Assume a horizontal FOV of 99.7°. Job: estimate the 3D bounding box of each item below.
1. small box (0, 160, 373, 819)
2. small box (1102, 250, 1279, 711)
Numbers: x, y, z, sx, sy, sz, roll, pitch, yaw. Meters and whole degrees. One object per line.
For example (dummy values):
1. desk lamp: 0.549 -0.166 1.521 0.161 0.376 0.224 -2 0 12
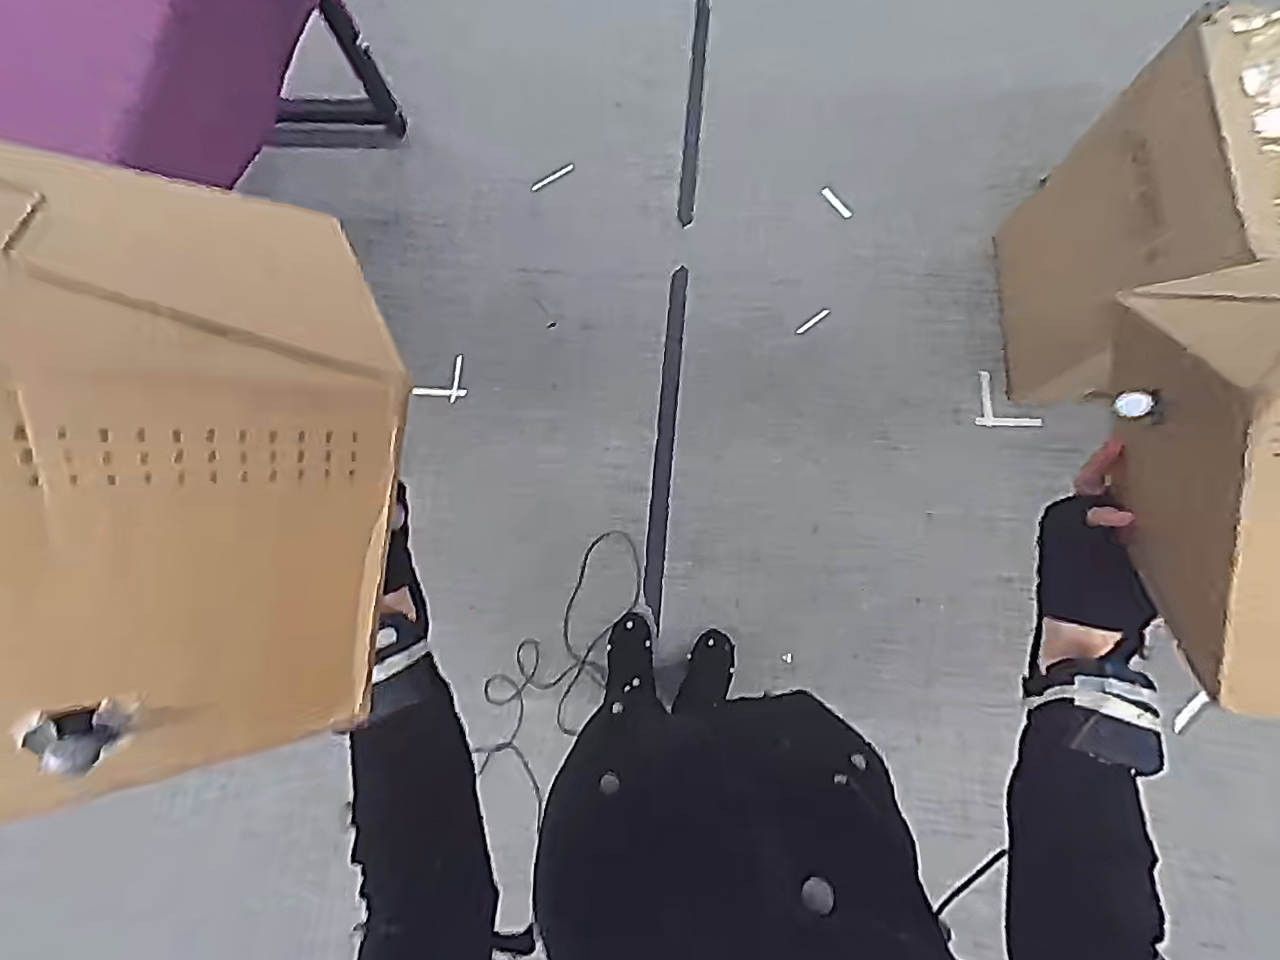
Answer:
1. small box: -0.205 -0.008 0.193 0.179 0.176 0.168 -3 36 -36
2. small box: 0.342 -0.015 0.249 0.168 0.179 0.176 -7 116 30
